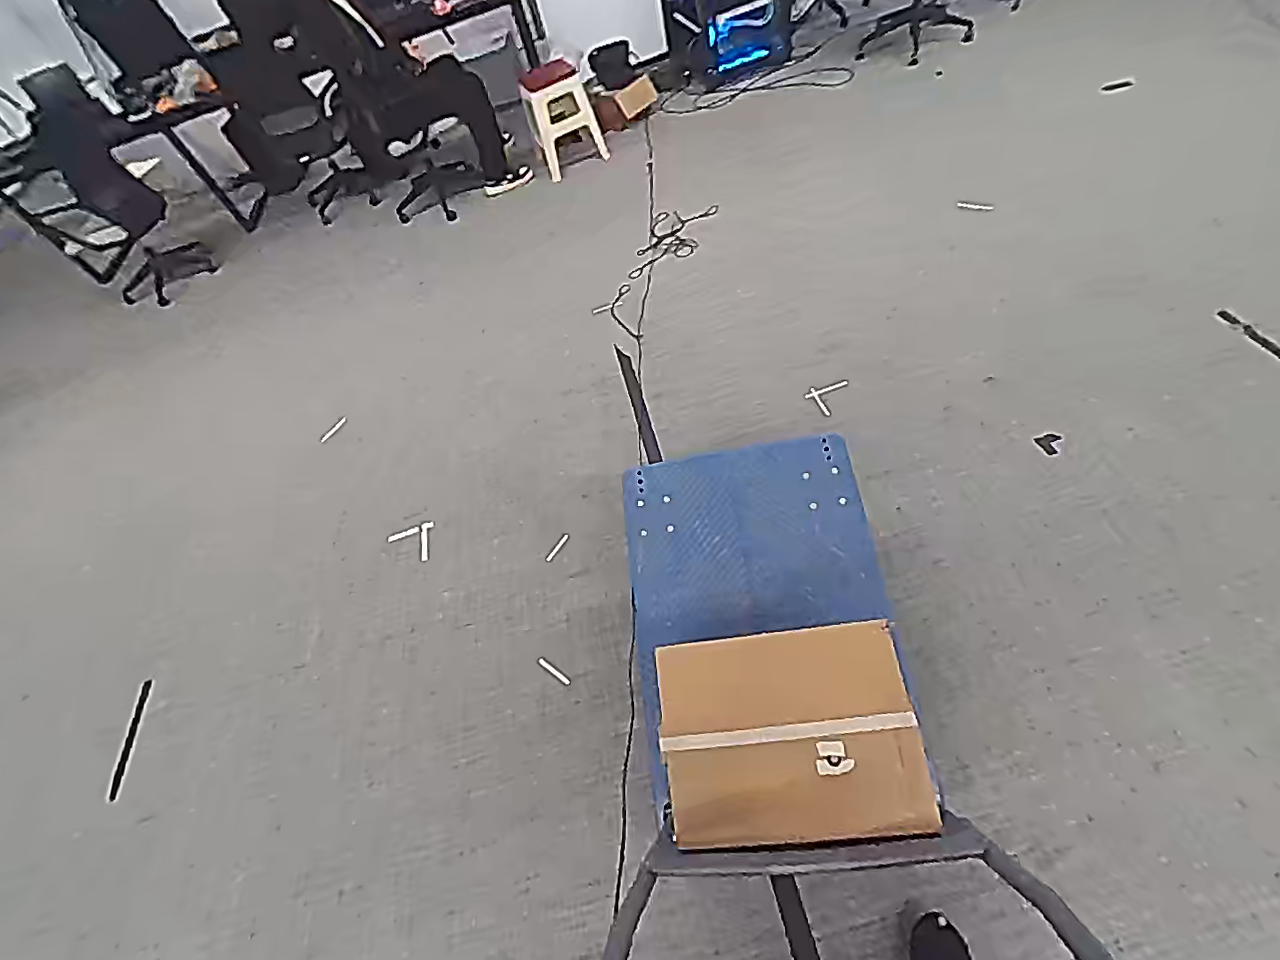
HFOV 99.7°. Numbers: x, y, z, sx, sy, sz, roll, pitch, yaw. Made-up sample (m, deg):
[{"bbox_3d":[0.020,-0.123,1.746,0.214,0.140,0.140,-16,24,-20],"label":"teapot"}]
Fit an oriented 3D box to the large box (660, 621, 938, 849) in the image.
[{"bbox_3d":[0.272,0.475,1.039,0.408,0.320,0.320,-10,68,8],"label":"large box"}]
